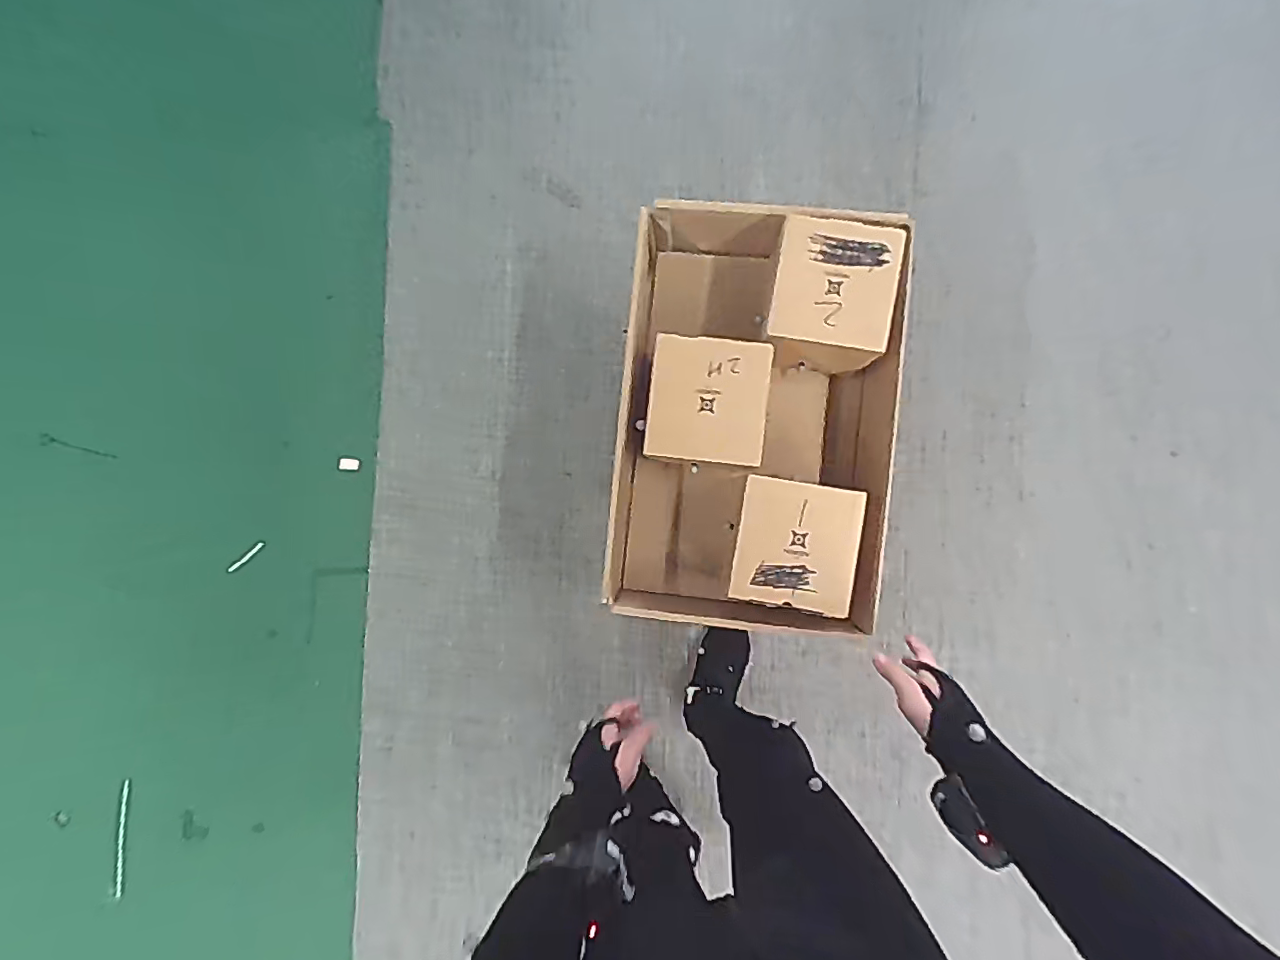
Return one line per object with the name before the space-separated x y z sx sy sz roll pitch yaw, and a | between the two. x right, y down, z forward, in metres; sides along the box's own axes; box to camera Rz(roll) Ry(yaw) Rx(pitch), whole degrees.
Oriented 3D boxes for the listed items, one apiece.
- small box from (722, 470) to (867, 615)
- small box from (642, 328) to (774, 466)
small box | 0.219 0.085 0.815 0.168 0.176 0.179 10 91 5
small box | 0.100 -0.116 0.827 0.168 0.176 0.179 7 91 4
